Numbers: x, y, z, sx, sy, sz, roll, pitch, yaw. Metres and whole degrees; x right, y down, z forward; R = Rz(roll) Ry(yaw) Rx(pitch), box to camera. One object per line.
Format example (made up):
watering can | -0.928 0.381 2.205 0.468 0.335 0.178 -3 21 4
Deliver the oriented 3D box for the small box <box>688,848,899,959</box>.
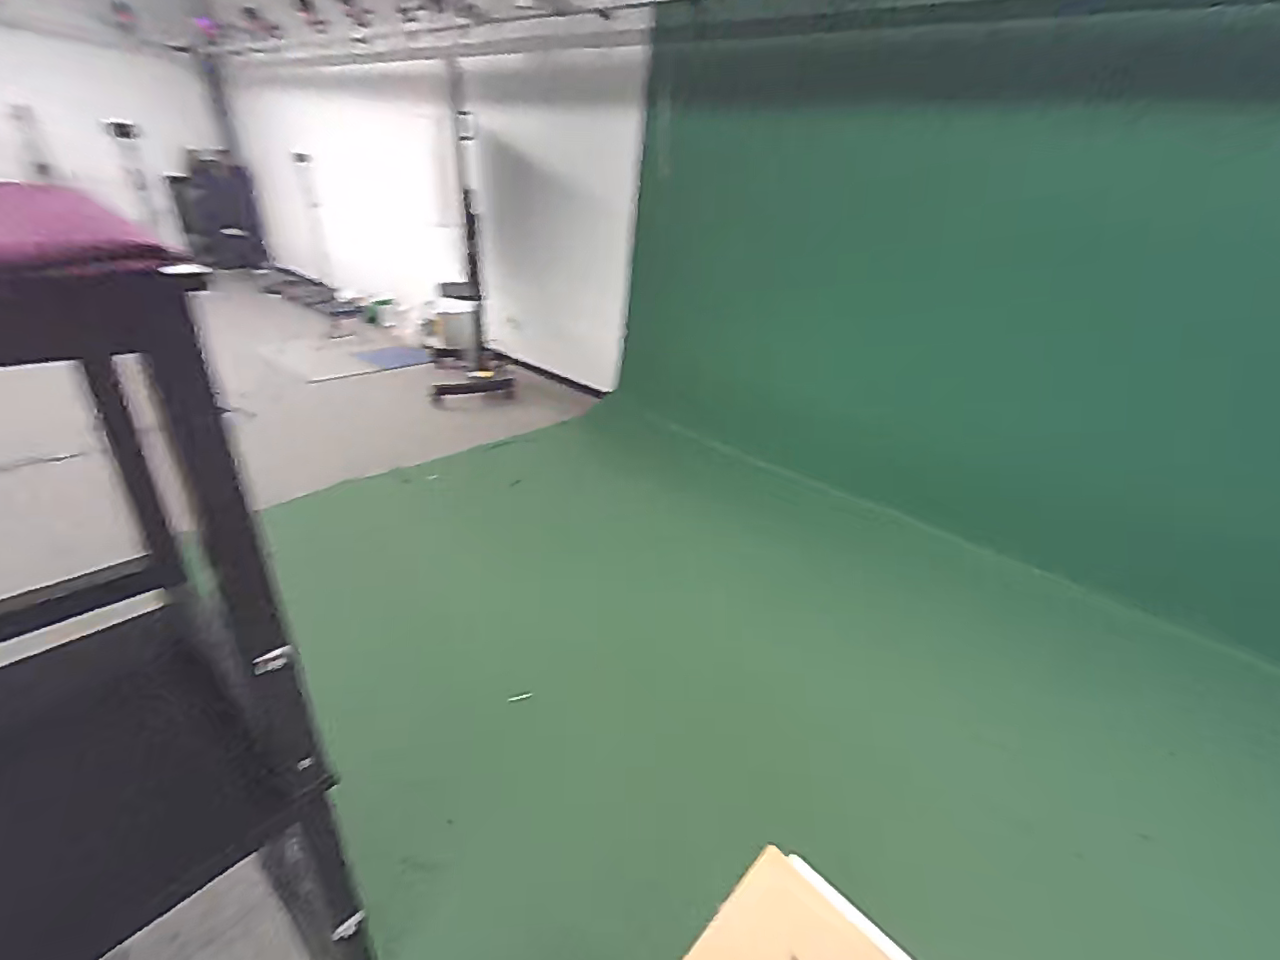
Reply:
small box | 0.148 0.541 0.547 0.179 0.176 0.168 30 36 35
